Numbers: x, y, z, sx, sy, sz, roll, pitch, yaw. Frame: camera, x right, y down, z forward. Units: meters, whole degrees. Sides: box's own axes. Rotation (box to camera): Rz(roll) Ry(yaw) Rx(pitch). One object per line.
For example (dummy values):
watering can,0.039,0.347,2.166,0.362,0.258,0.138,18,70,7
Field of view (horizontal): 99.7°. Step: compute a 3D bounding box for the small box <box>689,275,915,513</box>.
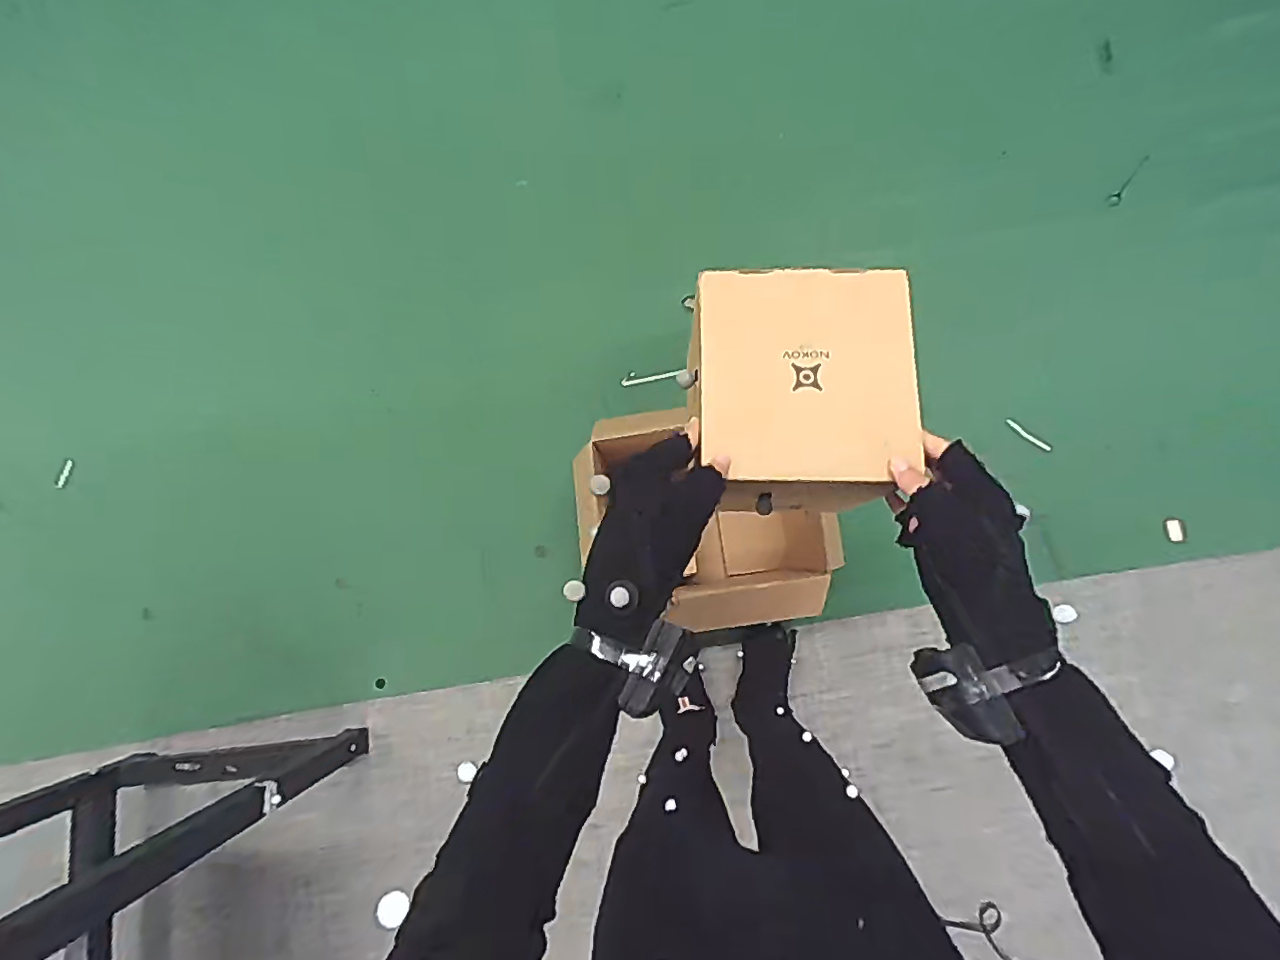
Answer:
small box,0.132,-0.065,0.503,0.168,0.176,0.179,0,77,3
